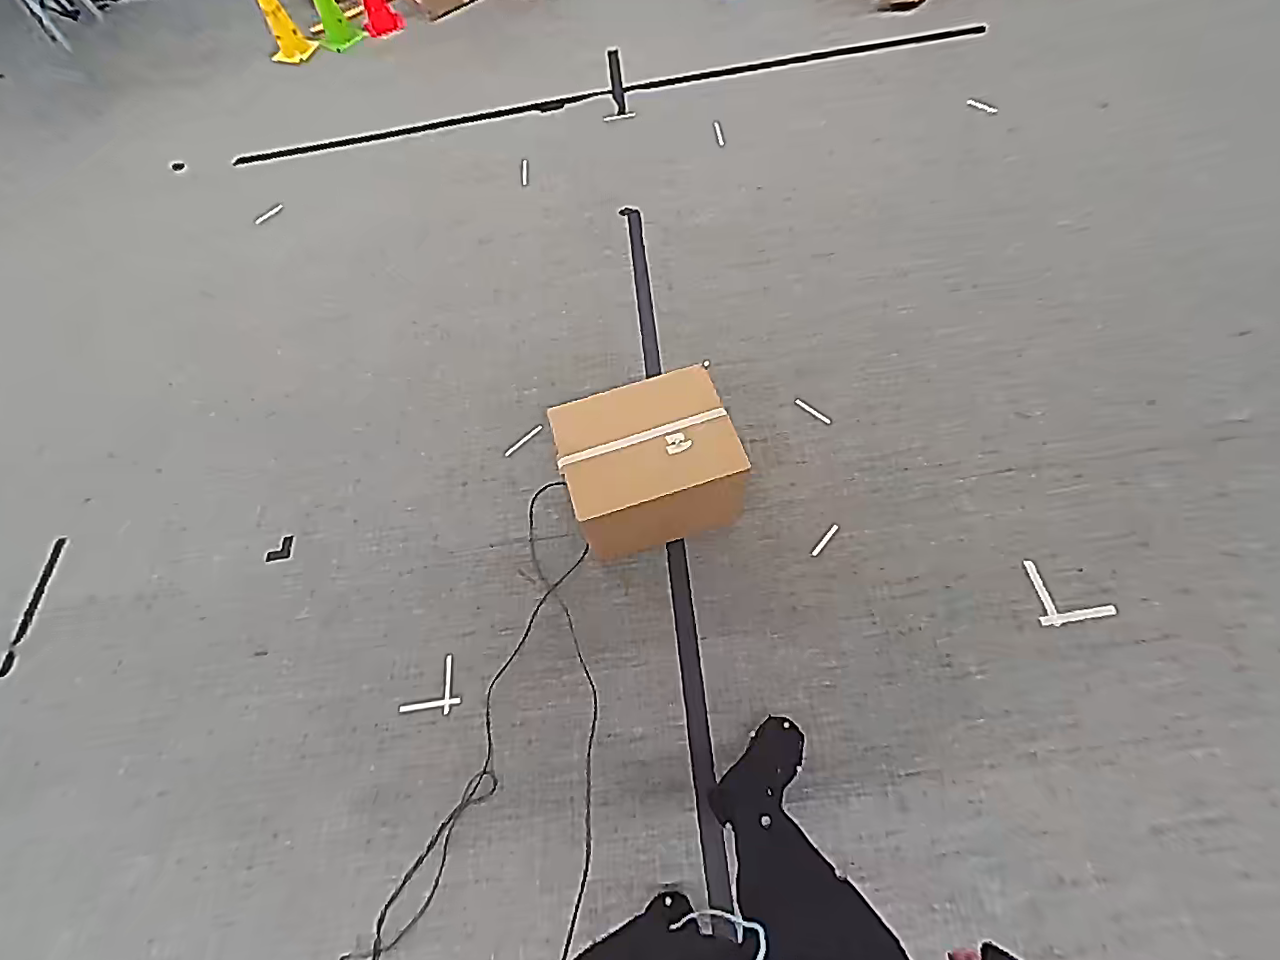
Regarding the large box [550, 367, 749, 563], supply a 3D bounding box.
[{"bbox_3d":[0.022,-0.027,1.386,0.408,0.320,0.320,-17,64,-4],"label":"large box"}]
